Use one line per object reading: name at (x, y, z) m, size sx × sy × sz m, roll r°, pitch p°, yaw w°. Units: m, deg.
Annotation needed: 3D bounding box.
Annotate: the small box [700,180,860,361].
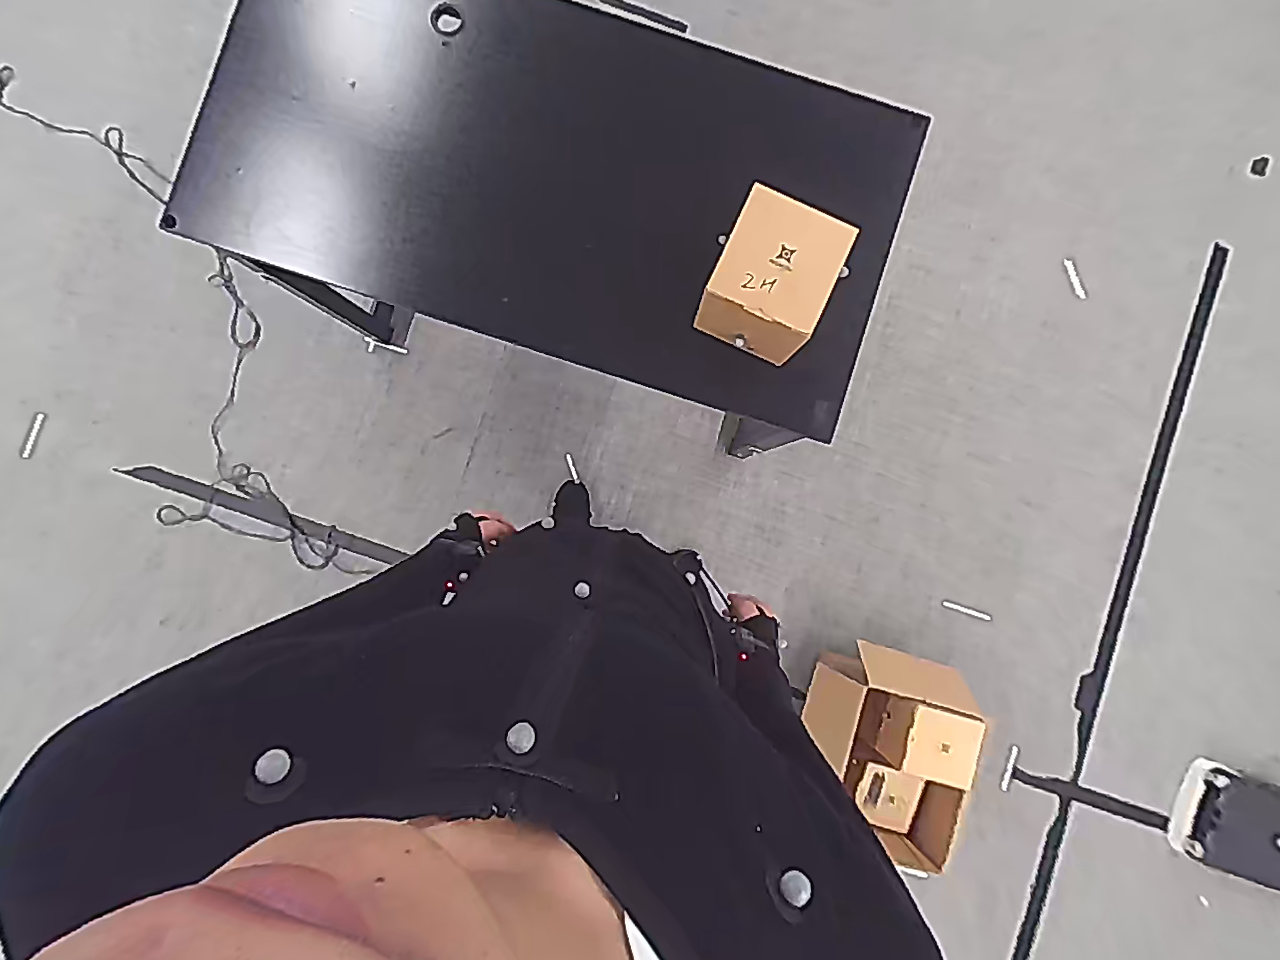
small box at (0.203, -0.311, 0.841) m, size 0.168 × 0.176 × 0.179 m, roll 25°, pitch 88°, yaw 1°
